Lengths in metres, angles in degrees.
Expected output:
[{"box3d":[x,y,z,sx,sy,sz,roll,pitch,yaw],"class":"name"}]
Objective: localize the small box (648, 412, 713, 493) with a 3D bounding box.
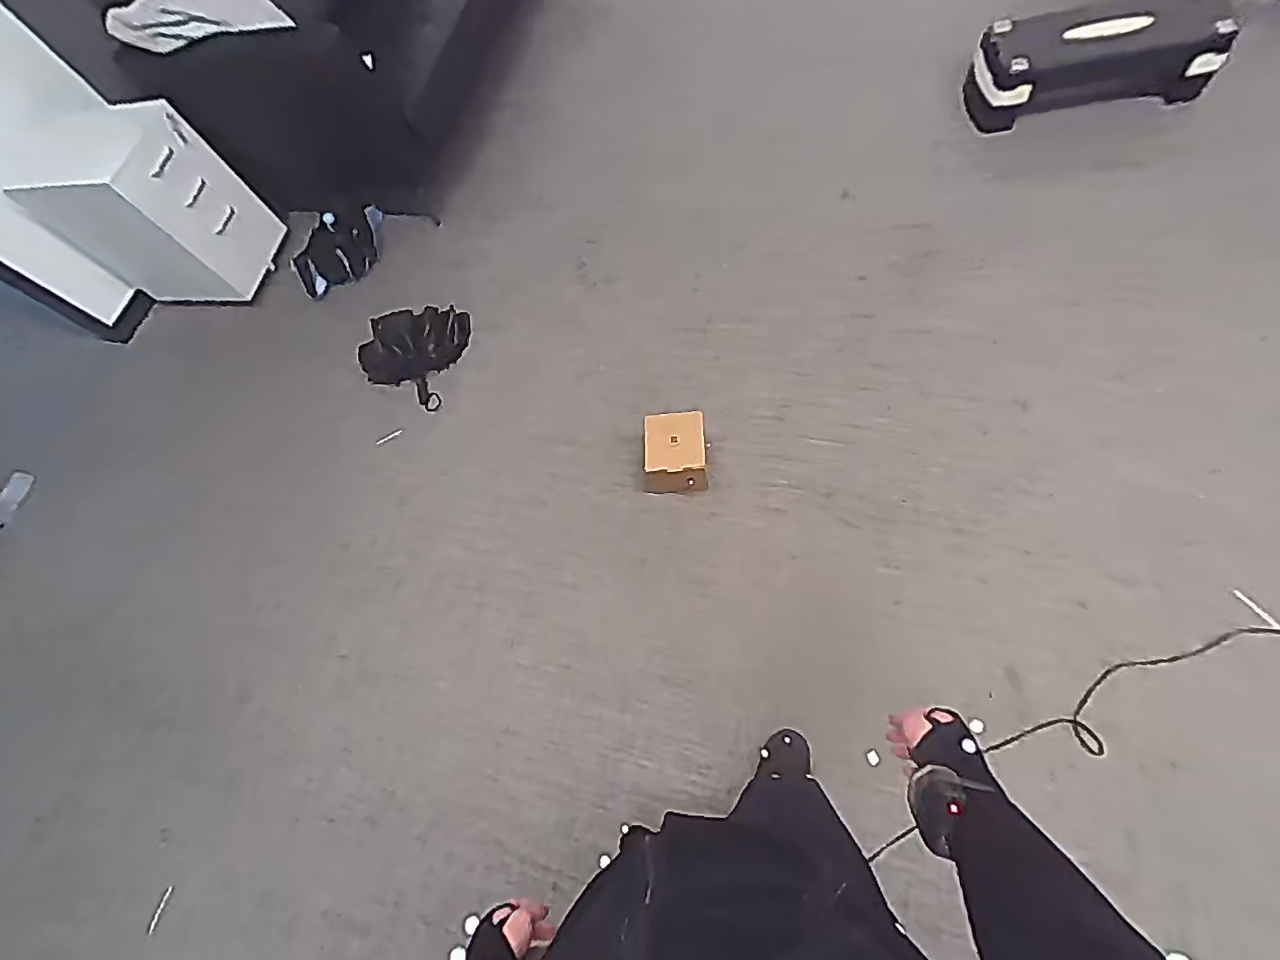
[{"box3d":[0.118,-0.071,1.554,0.168,0.176,0.179,-5,65,10],"class":"small box"}]
